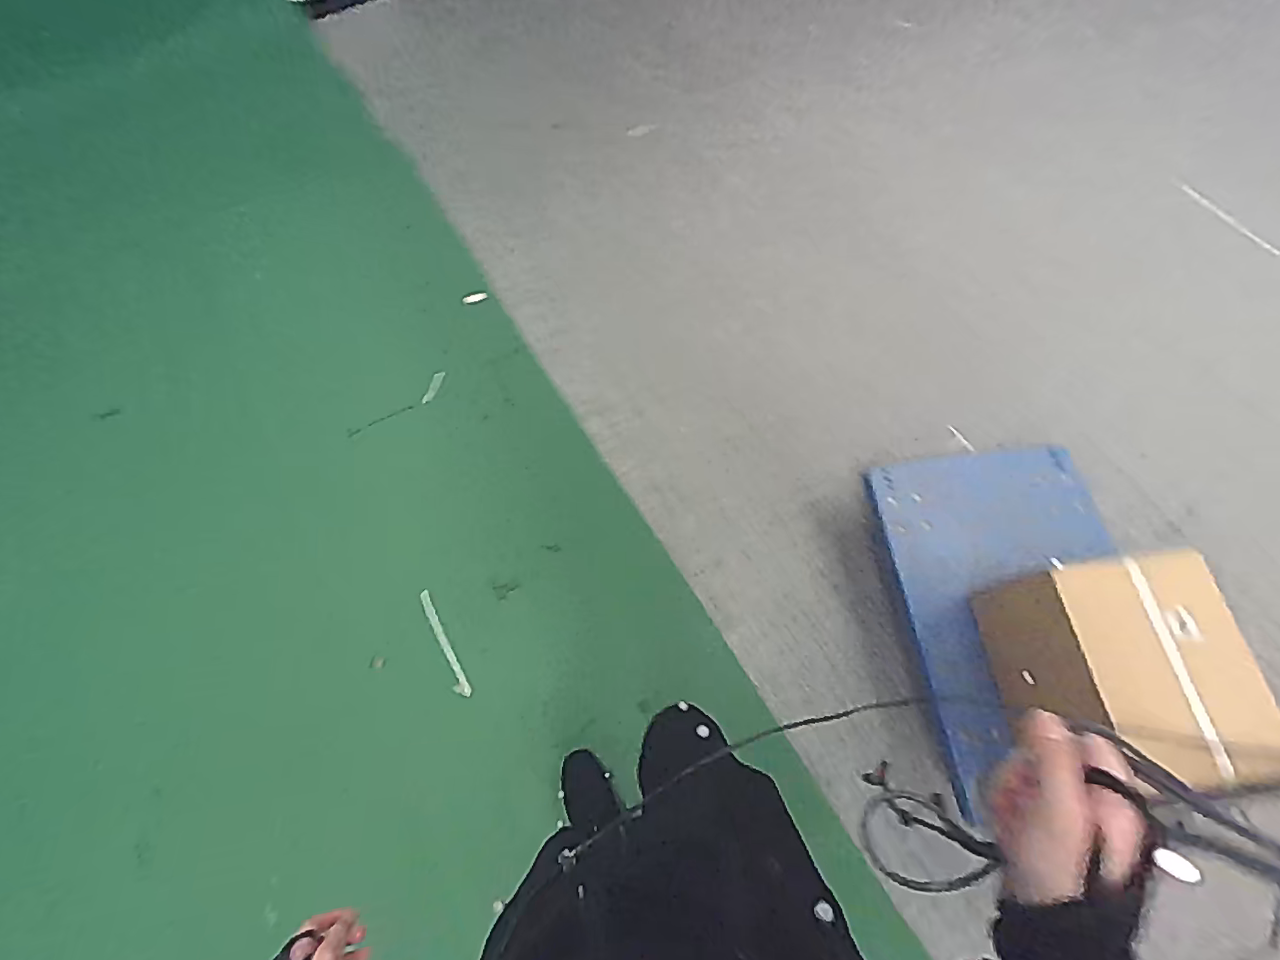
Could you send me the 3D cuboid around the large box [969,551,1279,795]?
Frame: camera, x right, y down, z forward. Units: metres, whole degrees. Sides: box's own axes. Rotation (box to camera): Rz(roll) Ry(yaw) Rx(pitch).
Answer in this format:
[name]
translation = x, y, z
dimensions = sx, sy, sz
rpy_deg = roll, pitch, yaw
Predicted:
[large box]
translation = 0.984, 0.397, 1.139
dimensions = 0.320, 0.320, 0.408
rpy_deg = -6, 68, -3
